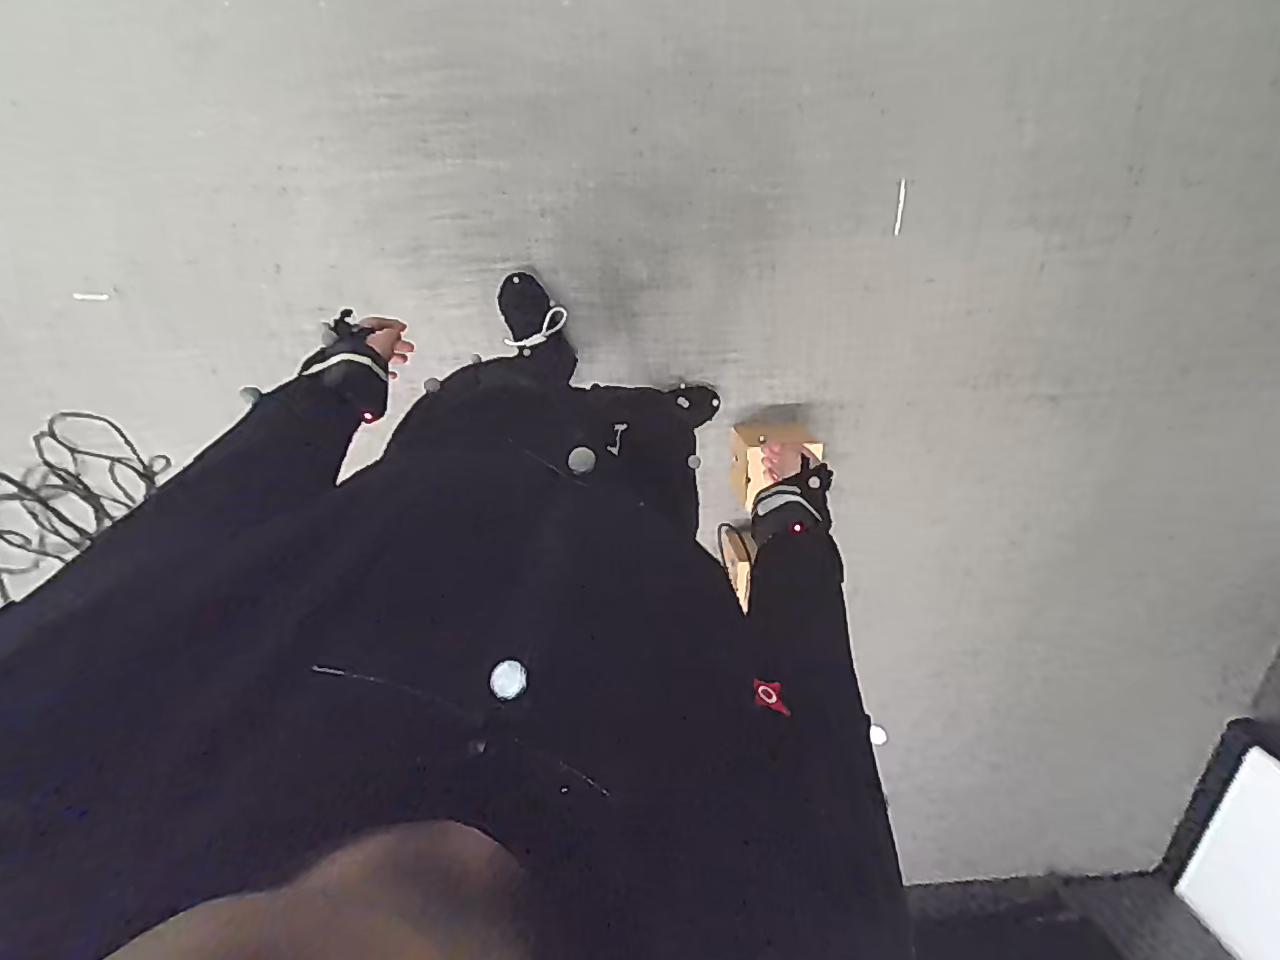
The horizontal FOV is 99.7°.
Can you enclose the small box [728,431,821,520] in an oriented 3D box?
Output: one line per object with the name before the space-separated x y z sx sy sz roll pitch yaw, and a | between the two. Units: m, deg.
small box | 0.320 -0.016 1.317 0.179 0.176 0.168 -3 113 -2
